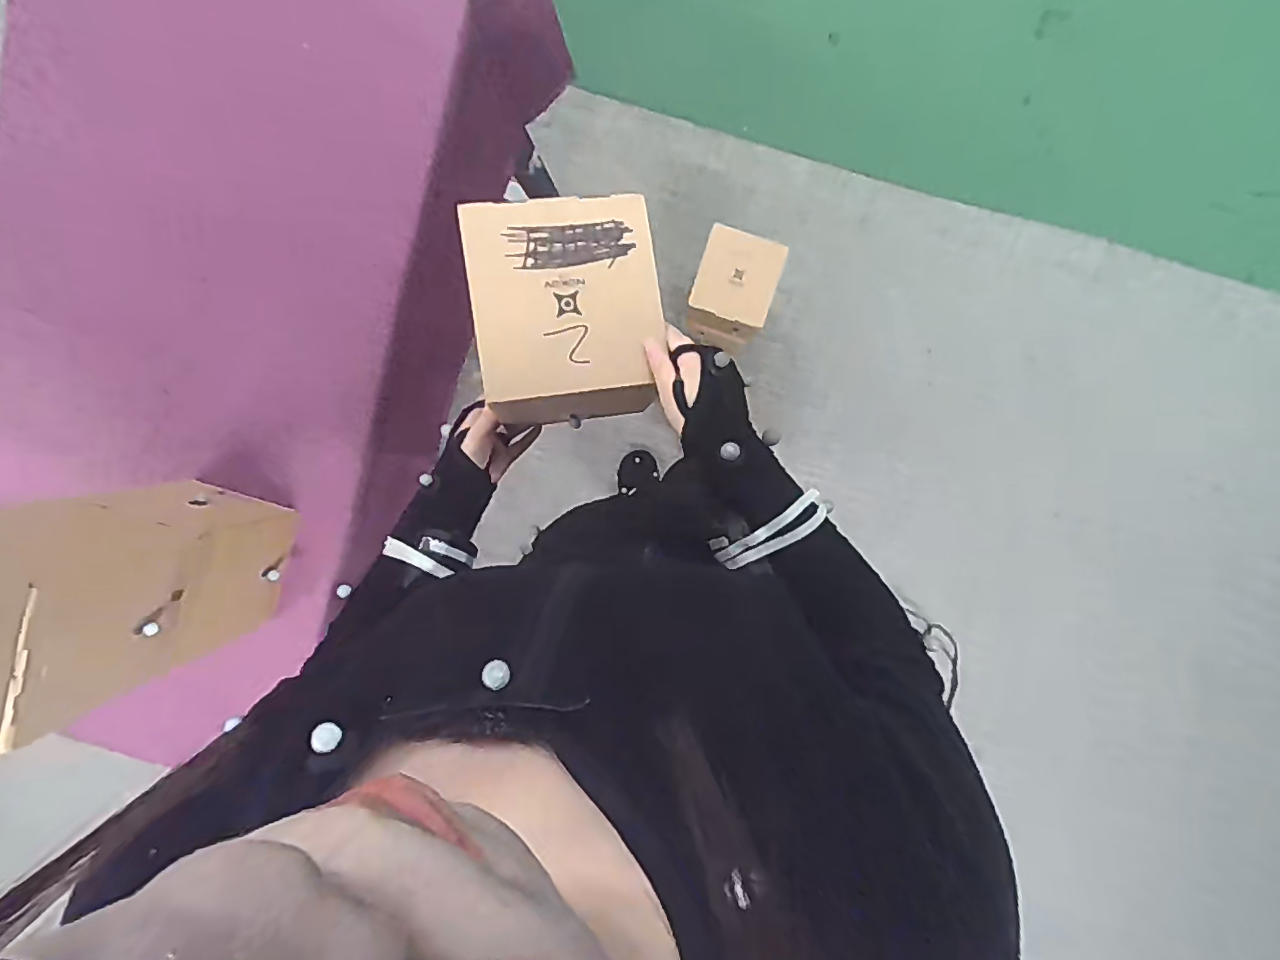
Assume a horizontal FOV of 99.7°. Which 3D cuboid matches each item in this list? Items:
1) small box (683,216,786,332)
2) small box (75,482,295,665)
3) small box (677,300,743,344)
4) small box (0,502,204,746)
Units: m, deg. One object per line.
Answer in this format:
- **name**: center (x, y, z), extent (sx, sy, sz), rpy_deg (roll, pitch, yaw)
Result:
- **small box**: center (0.197, -0.439, 1.184), extent (0.168, 0.176, 0.179), rpy_deg (18, 97, -1)
- **small box**: center (-0.600, 0.110, 0.721), extent (0.168, 0.176, 0.179), rpy_deg (16, 97, 1)
- **small box**: center (0.200, -0.452, 1.347), extent (0.168, 0.176, 0.179), rpy_deg (21, 97, 0)
- **small box**: center (-0.613, 0.130, 0.557), extent (0.179, 0.176, 0.168), rpy_deg (17, 99, 0)
